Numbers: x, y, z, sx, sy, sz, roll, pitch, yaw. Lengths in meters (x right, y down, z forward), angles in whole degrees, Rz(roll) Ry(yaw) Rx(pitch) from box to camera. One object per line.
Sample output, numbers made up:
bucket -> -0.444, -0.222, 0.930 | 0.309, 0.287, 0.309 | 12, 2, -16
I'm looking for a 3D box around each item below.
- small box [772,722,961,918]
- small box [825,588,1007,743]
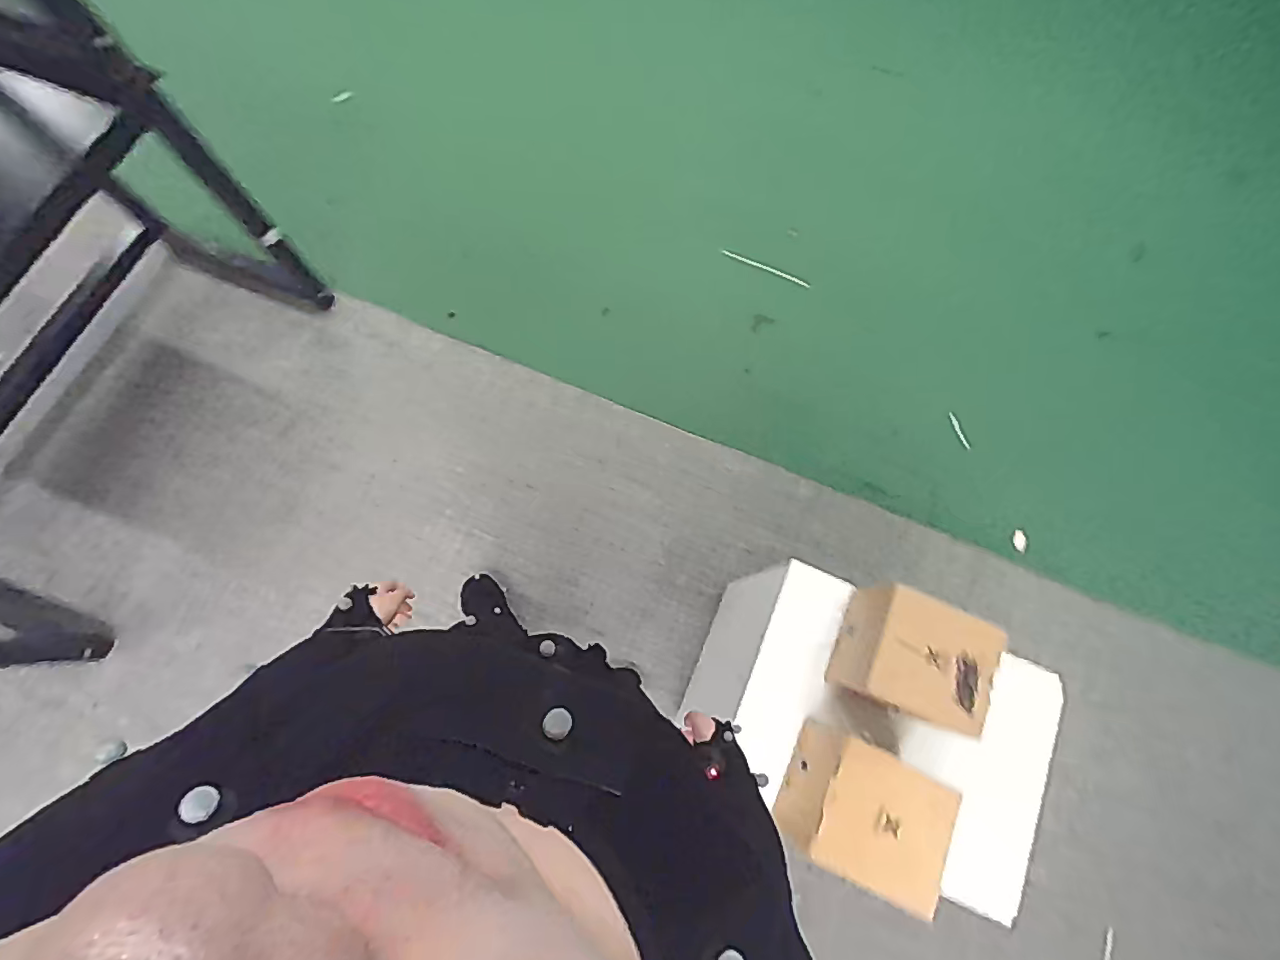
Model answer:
small box -> 0.324, 0.483, 0.803 | 0.179, 0.176, 0.168 | 26, 75, 4
small box -> 0.427, 0.283, 0.860 | 0.179, 0.176, 0.168 | 25, 76, 4
